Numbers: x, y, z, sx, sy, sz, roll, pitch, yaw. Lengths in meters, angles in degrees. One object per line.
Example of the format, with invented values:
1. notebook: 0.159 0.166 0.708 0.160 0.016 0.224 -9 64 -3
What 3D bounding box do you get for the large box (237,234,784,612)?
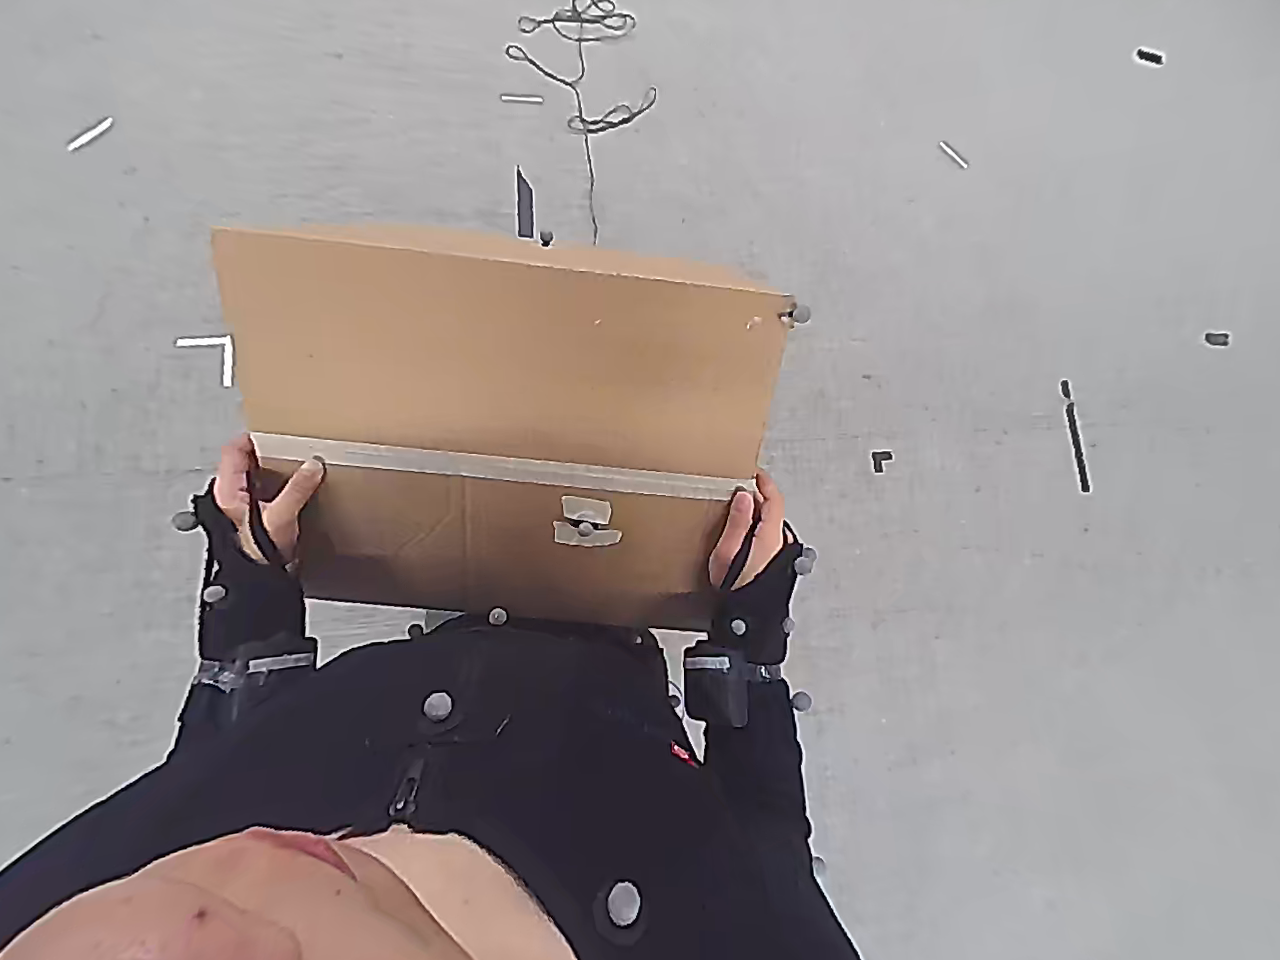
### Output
1. large box: -0.107 -0.083 0.590 0.408 0.320 0.320 5 117 -4
